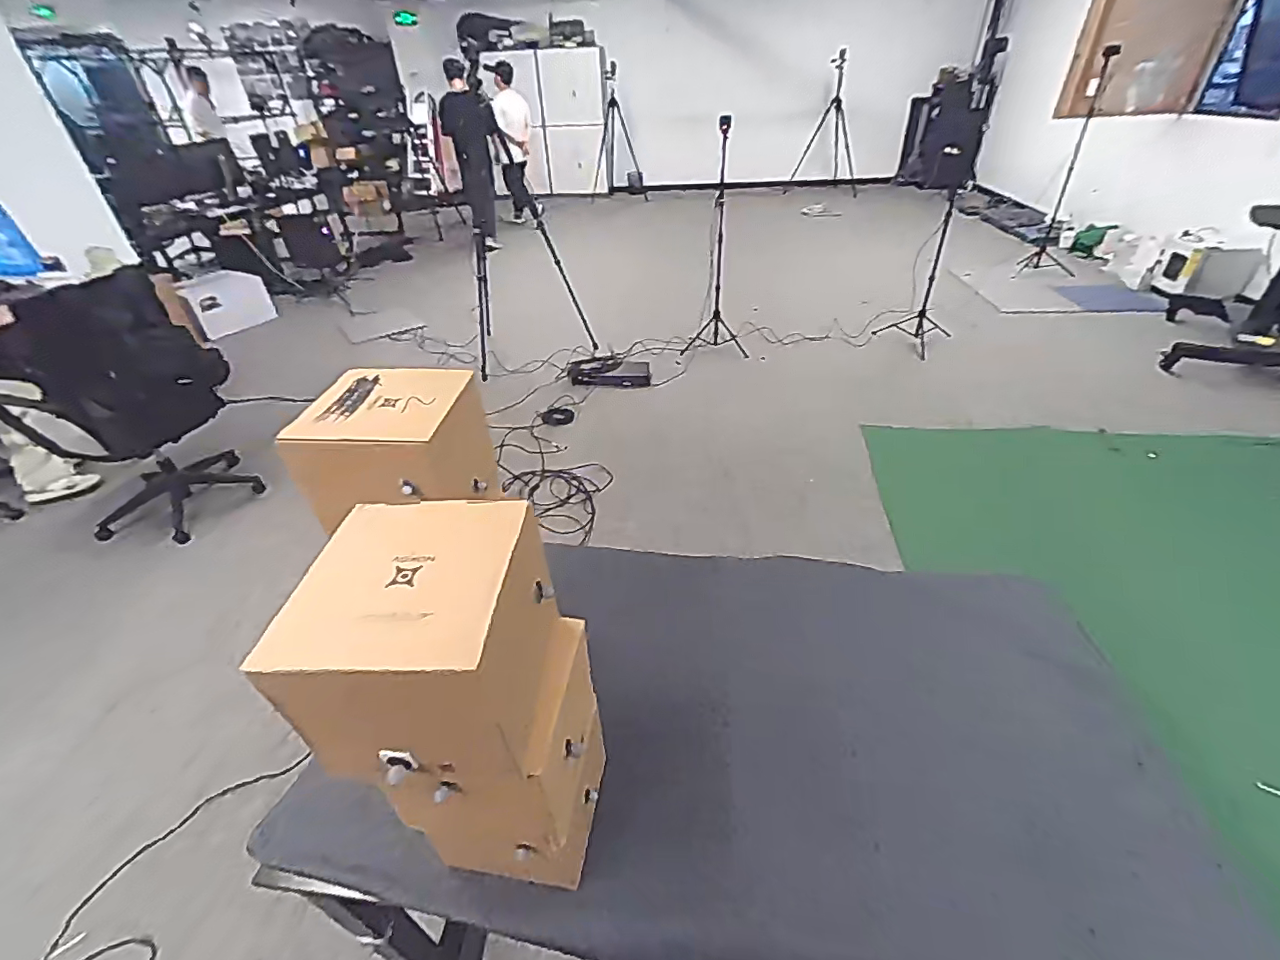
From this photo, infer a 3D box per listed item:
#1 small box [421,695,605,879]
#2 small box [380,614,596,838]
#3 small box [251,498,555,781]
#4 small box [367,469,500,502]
[{"bbox_3d":[-0.148,0.377,0.689,0.179,0.176,0.168,4,37,10],"label":"small box"},{"bbox_3d":[-0.151,0.257,0.580,0.179,0.176,0.168,3,38,9],"label":"small box"},{"bbox_3d":[-0.176,0.135,0.474,0.168,0.176,0.179,-2,39,4],"label":"small box"},{"bbox_3d":[-0.296,0.101,0.796,0.179,0.176,0.168,0,39,5],"label":"small box"}]
